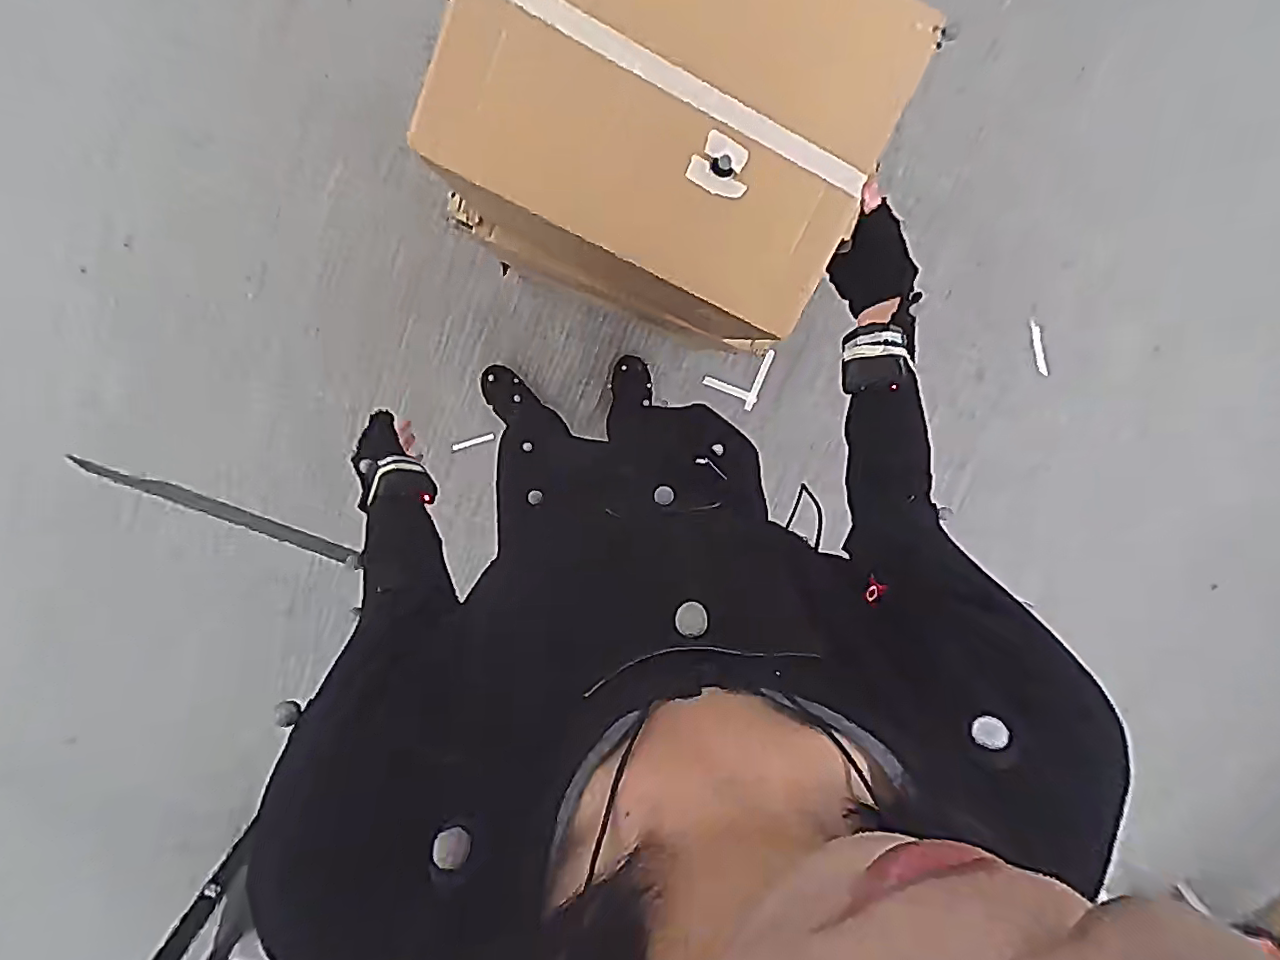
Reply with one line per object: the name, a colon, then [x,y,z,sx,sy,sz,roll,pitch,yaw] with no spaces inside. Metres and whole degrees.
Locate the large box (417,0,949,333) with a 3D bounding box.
large box: [0.027,-0.396,0.626,0.408,0.320,0.320,23,103,-10]
